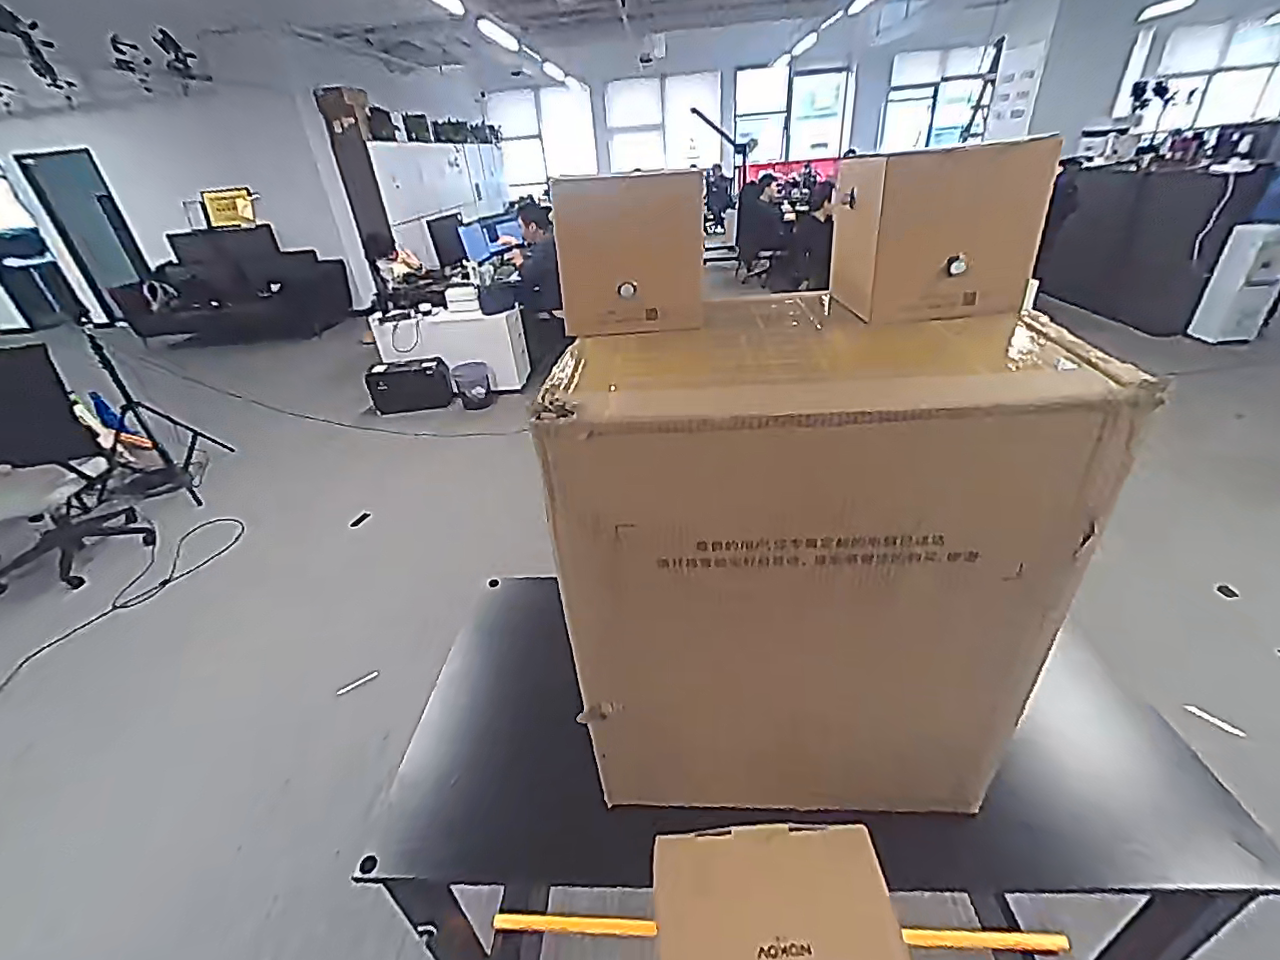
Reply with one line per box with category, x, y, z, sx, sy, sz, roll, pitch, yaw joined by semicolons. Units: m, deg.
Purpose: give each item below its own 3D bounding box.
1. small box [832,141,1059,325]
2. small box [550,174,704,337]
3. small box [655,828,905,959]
small box;0.333;-0.287;0.635;0.168;0.176;0.179;-4;29;5
small box;-0.014;-0.284;0.681;0.168;0.176;0.179;-4;30;-1
small box;0.097;0.391;0.400;0.168;0.176;0.179;-3;38;-1
